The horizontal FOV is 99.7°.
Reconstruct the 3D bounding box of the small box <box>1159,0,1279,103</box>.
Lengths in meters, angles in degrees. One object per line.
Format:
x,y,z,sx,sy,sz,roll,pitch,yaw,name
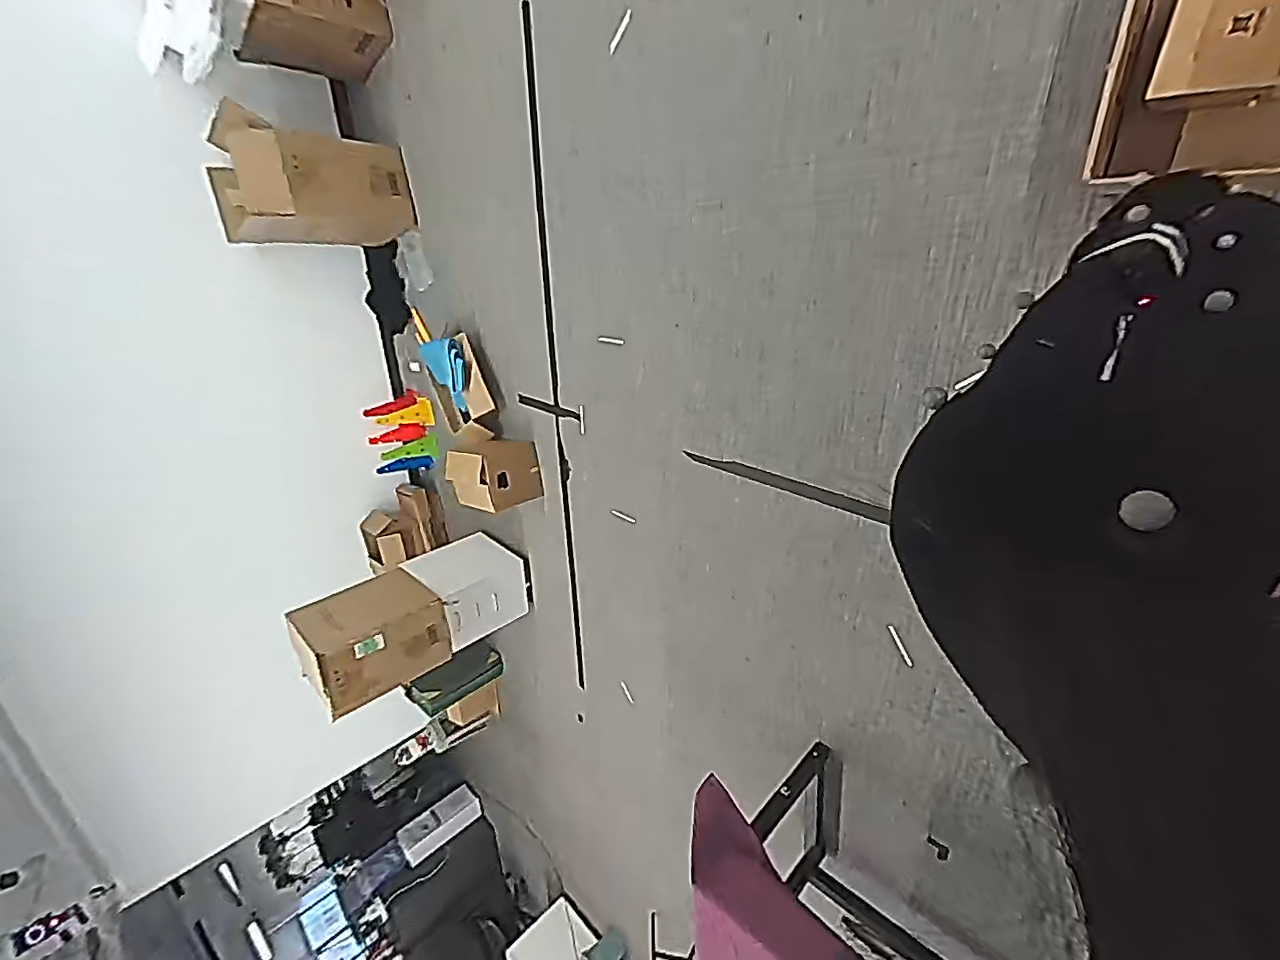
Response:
0.944,-0.694,0.823,0.179,0.176,0.168,23,123,41,small box
